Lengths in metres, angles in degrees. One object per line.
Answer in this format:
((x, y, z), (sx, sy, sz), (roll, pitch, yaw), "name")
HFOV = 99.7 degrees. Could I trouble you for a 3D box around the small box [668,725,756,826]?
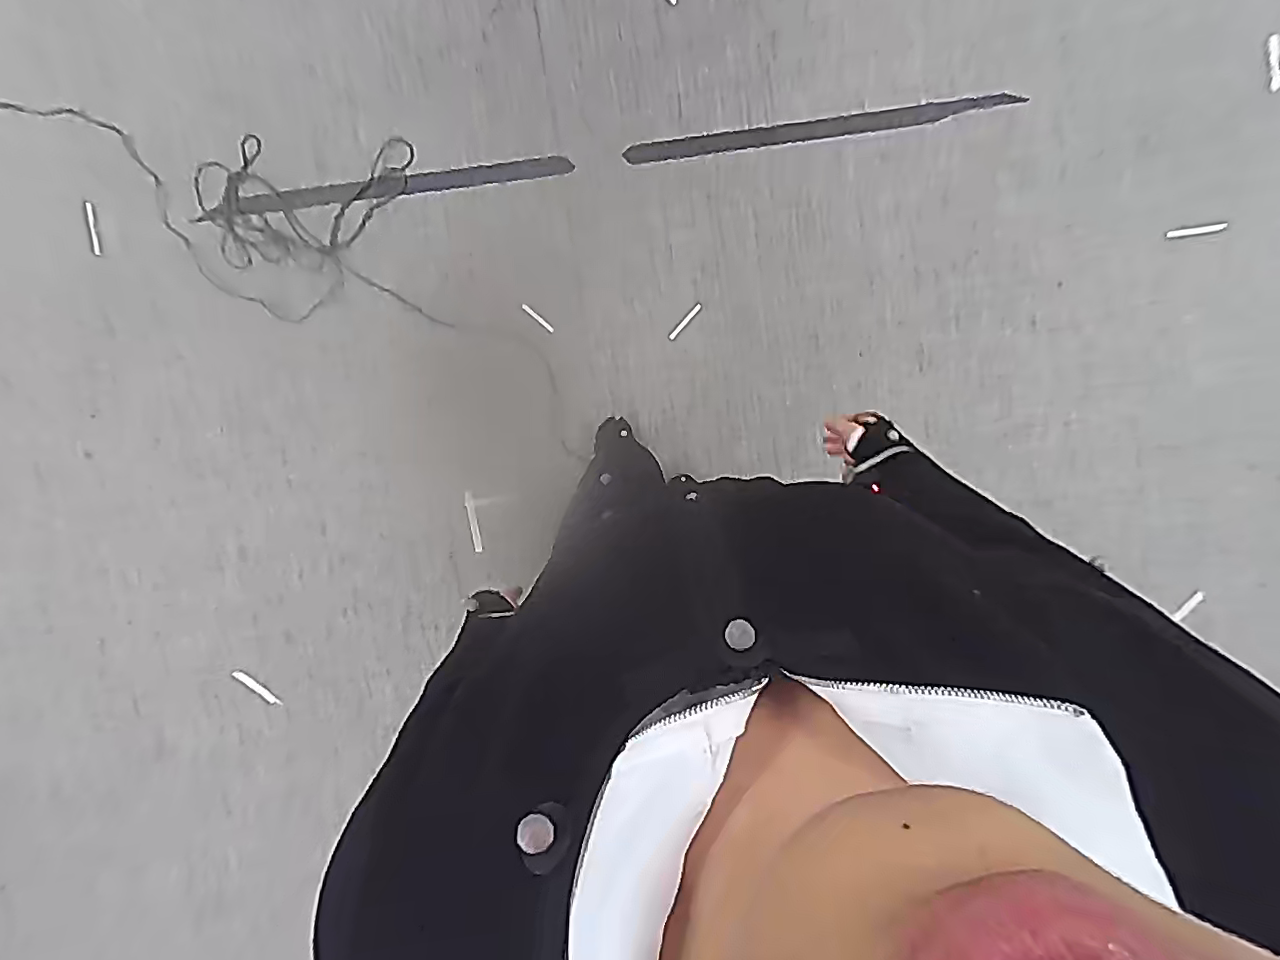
((0.165, 0.663, 1.267), (0.179, 0.176, 0.168), (-12, 94, 1), "small box")
